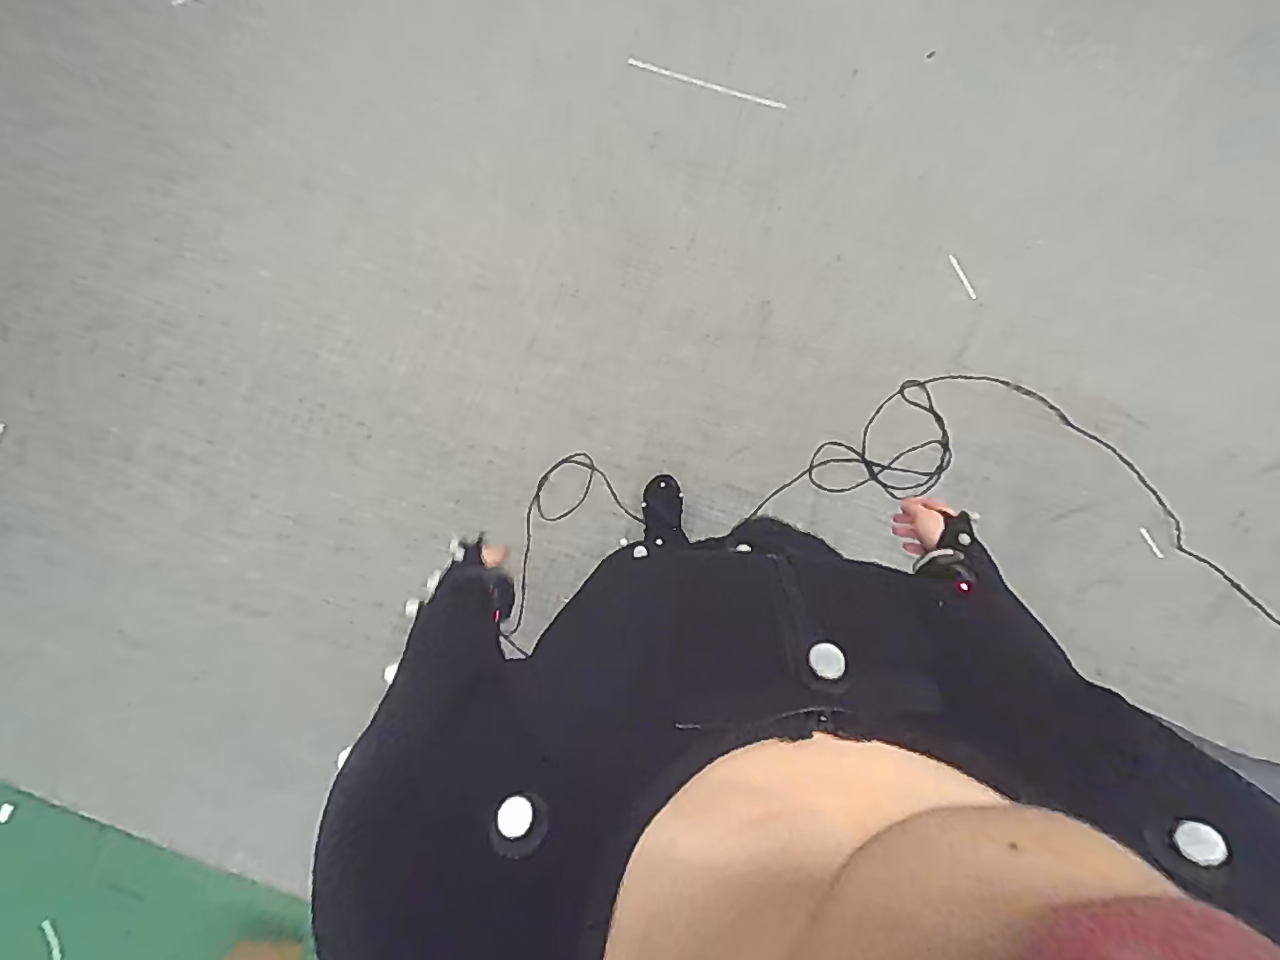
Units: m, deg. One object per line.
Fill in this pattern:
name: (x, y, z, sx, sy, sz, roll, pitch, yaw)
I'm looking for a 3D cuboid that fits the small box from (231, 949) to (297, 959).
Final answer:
small box: (-0.999, 1.329, 1.355, 0.179, 0.176, 0.168, 3, 87, 2)
